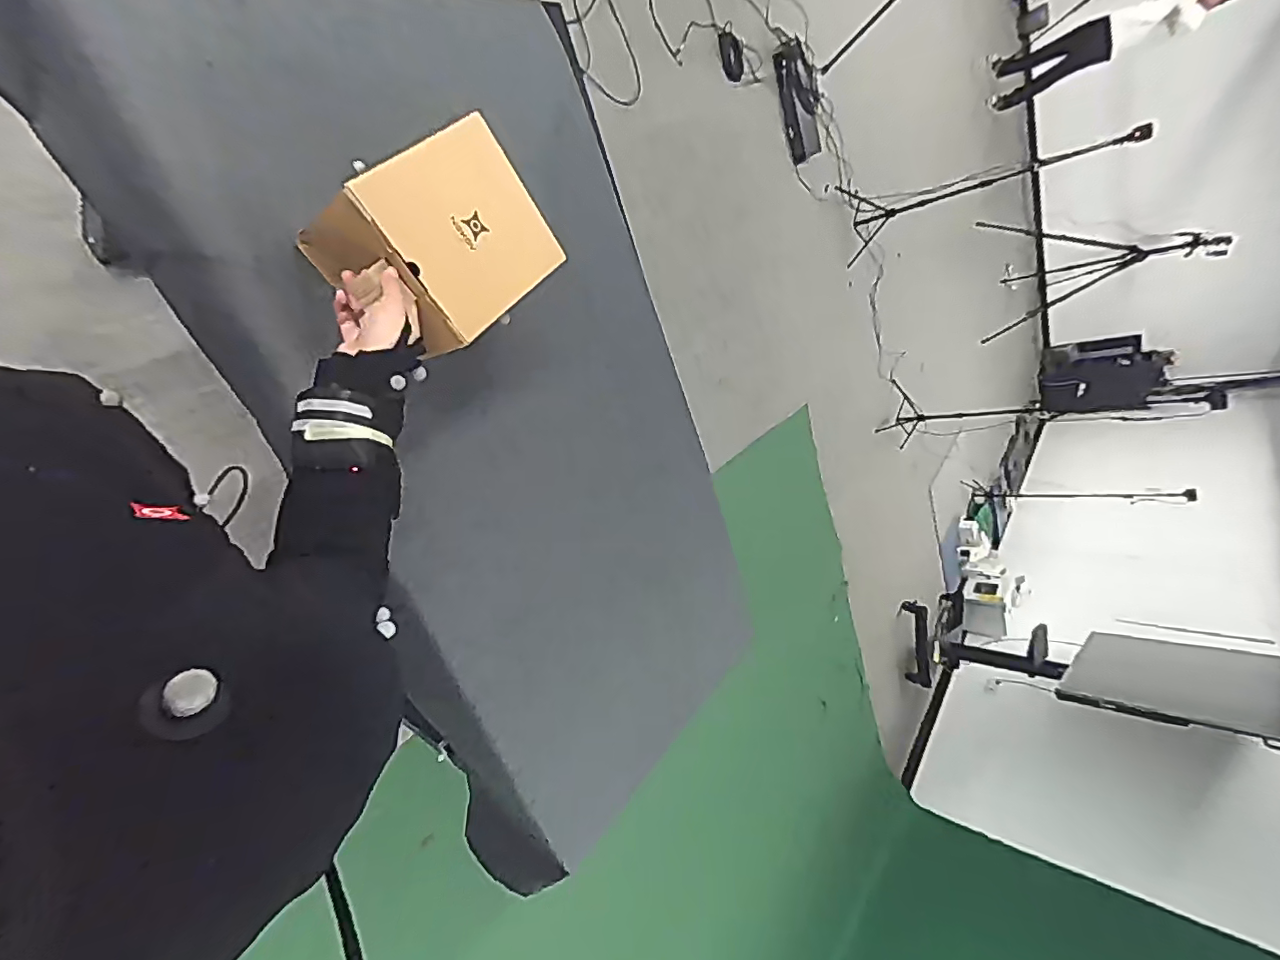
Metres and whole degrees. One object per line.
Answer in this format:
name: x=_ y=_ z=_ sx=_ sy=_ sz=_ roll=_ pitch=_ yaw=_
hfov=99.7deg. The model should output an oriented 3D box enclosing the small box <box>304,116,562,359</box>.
small box: x=-0.228 y=-0.255 z=0.600 sx=0.179 sy=0.176 sz=0.168 roll=-54 pitch=127 yaw=-29
